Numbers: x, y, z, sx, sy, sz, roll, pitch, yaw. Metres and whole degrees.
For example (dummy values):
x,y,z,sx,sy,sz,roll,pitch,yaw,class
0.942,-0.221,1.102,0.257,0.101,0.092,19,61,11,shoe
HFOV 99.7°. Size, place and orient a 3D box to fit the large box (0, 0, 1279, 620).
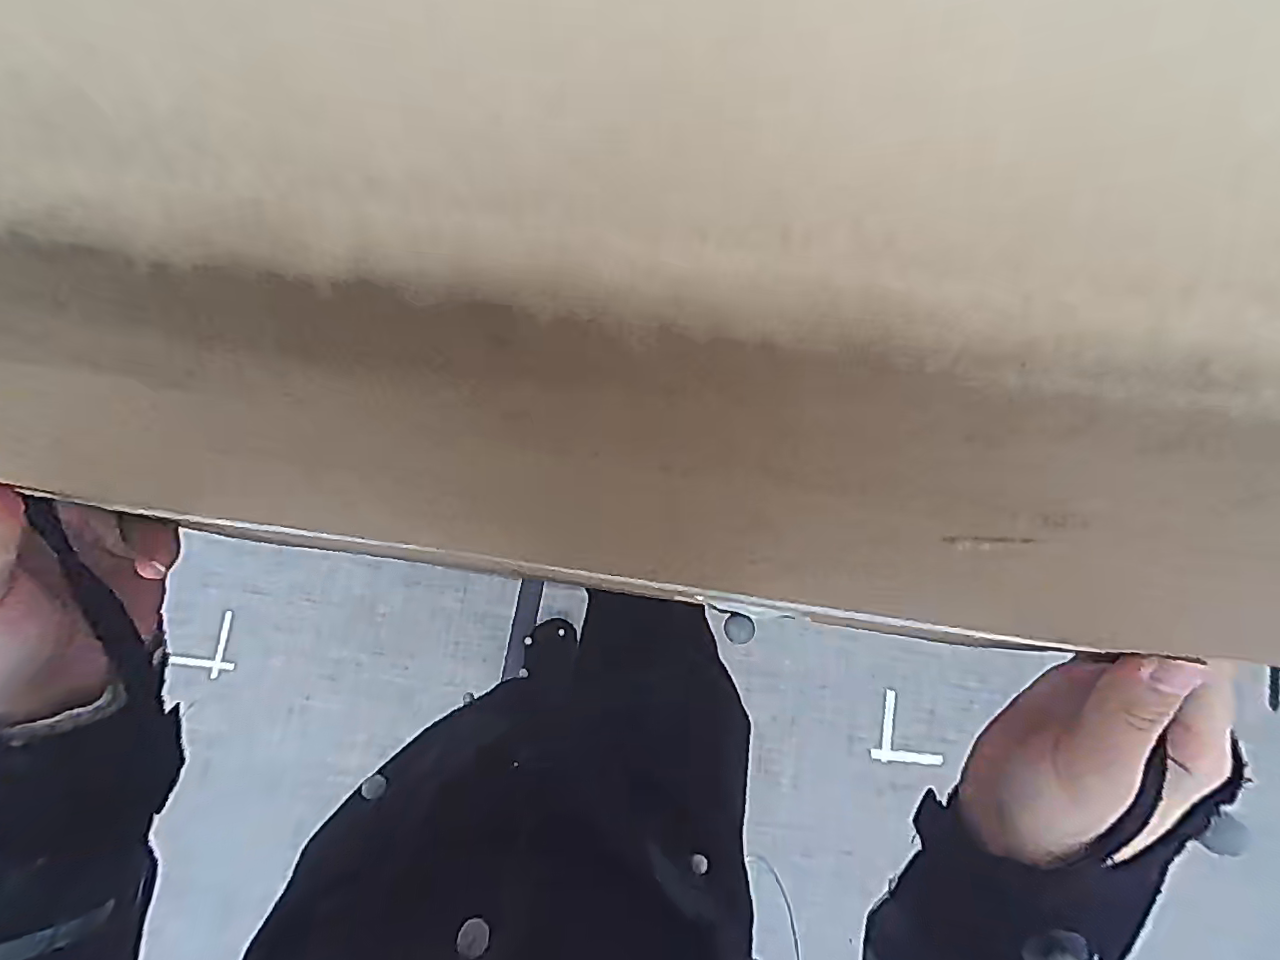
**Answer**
x,y,z,sx,sy,sz,roll,pitch,yaw,class
-0.001,-0.132,0.223,0.408,0.320,0.320,8,76,2,large box
